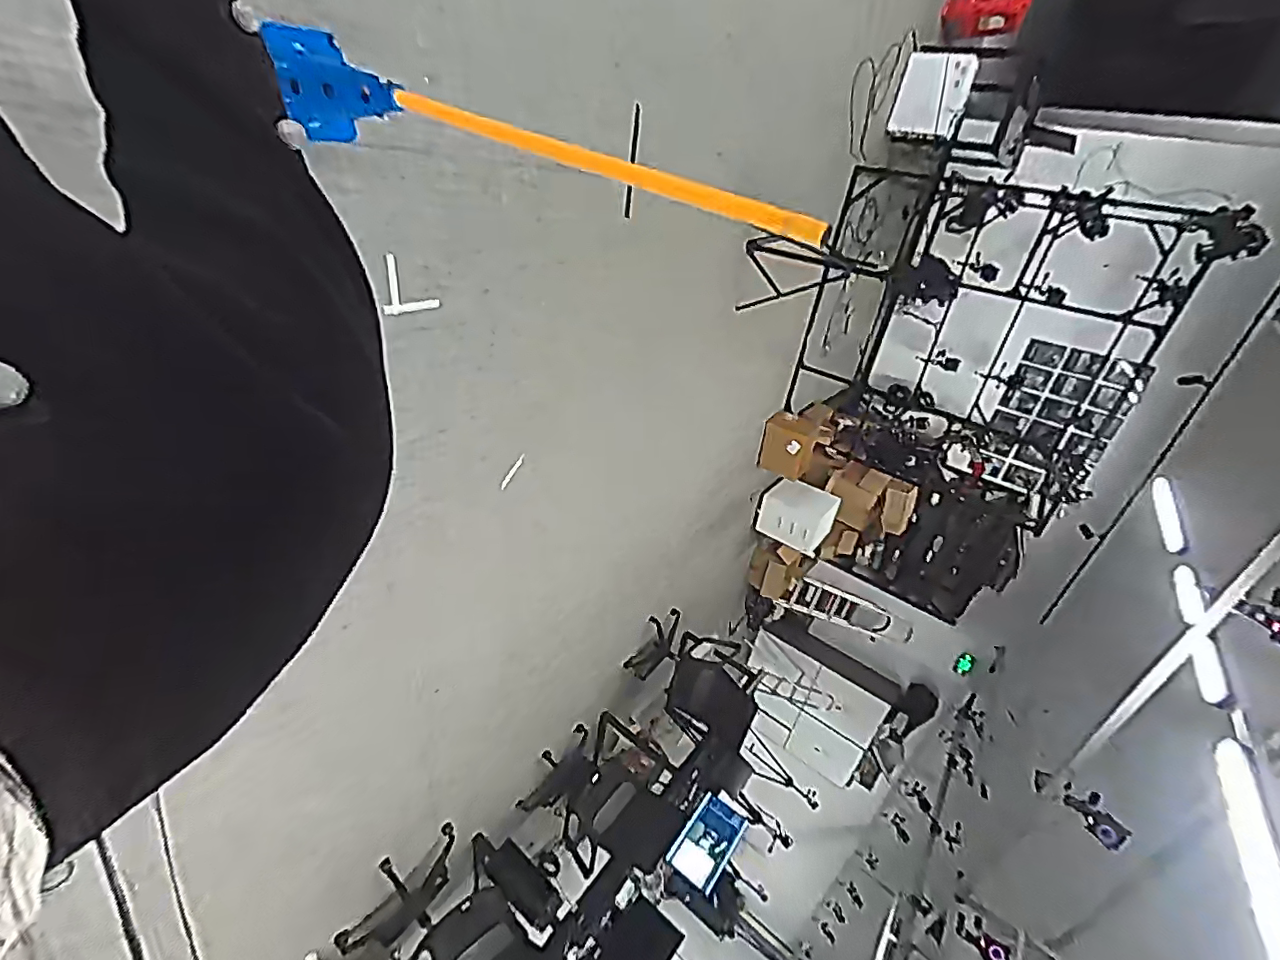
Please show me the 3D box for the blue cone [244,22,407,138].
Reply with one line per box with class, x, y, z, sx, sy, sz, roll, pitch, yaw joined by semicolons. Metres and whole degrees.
blue cone;-0.579;-0.771;1.063;0.193;0.380;0.192;-33;139;-44
